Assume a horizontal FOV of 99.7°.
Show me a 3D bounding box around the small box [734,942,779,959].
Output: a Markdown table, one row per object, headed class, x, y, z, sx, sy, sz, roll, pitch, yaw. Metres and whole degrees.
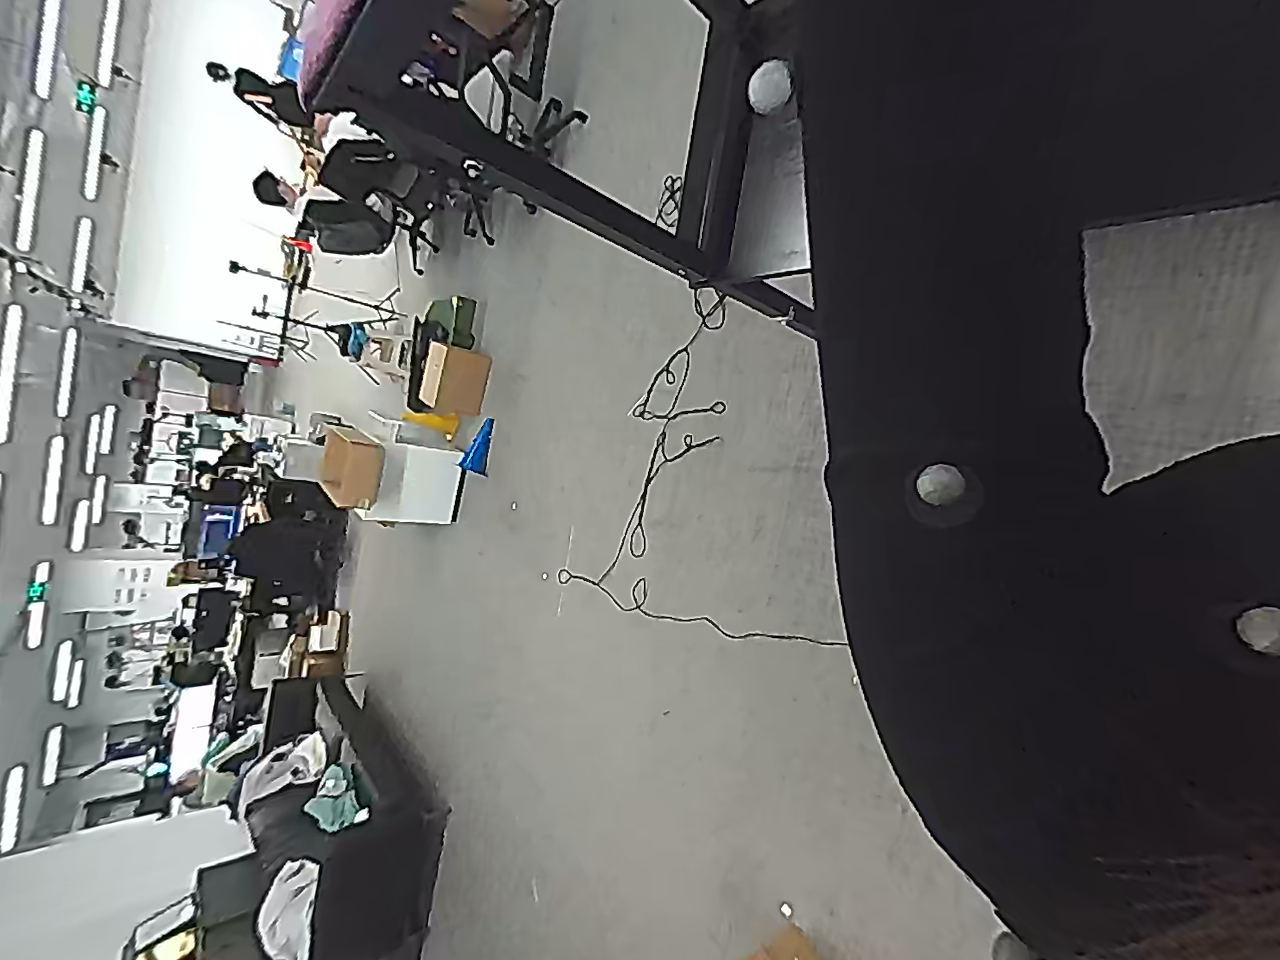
| class | x | y | z | sx | sy | sz | roll | pitch | yaw |
| --- | --- | --- | --- | --- | --- | --- | --- | --- | --- |
| small box | 0.313 | 1.404 | 1.441 | 0.168 | 0.176 | 0.179 | 26 | 103 | 48 |
